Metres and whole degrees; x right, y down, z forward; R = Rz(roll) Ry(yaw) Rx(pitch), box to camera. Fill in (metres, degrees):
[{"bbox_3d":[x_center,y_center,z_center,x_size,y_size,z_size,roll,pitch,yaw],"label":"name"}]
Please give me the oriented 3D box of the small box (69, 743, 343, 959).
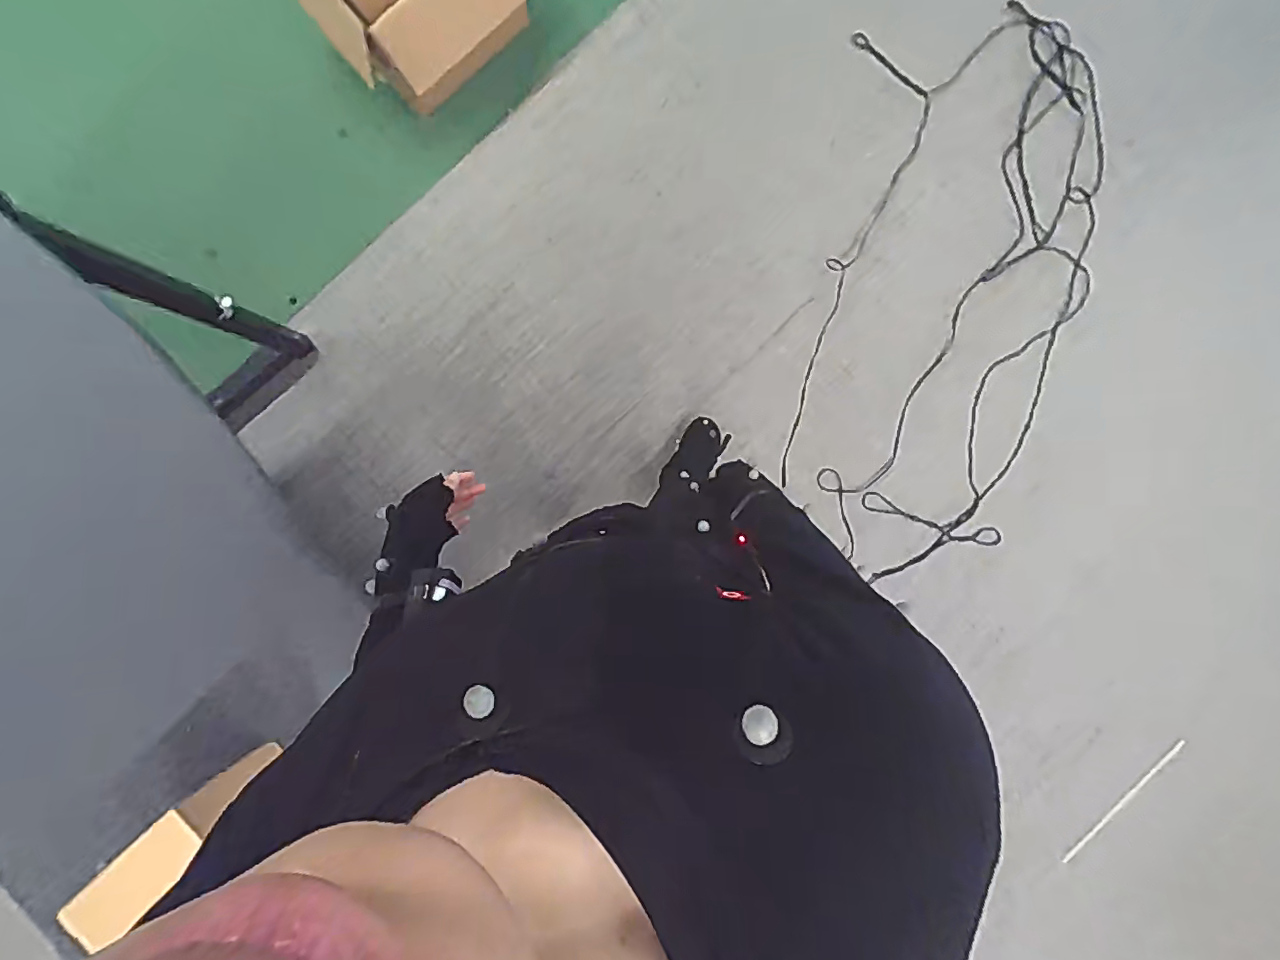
[{"bbox_3d":[-0.511,0.473,0.673,0.179,0.176,0.168,-43,89,1],"label":"small box"}]
